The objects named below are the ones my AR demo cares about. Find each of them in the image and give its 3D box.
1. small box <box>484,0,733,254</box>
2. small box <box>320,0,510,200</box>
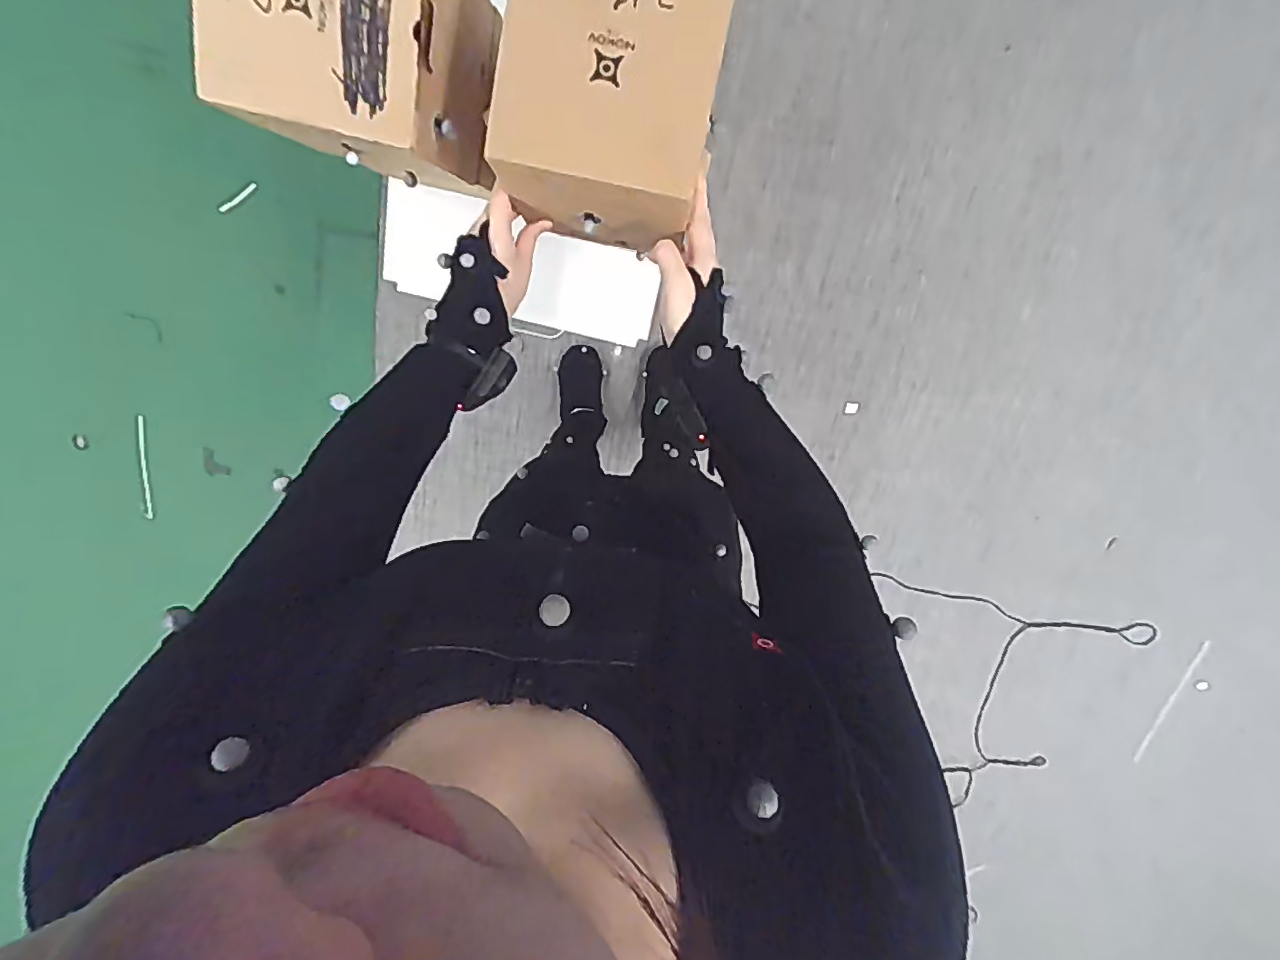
[{"bbox_3d":[-0.024,-0.323,0.484,0.168,0.176,0.179,12,98,-2],"label":"small box"},{"bbox_3d":[-0.243,-0.445,0.638,0.179,0.176,0.168,11,110,-4],"label":"small box"}]
